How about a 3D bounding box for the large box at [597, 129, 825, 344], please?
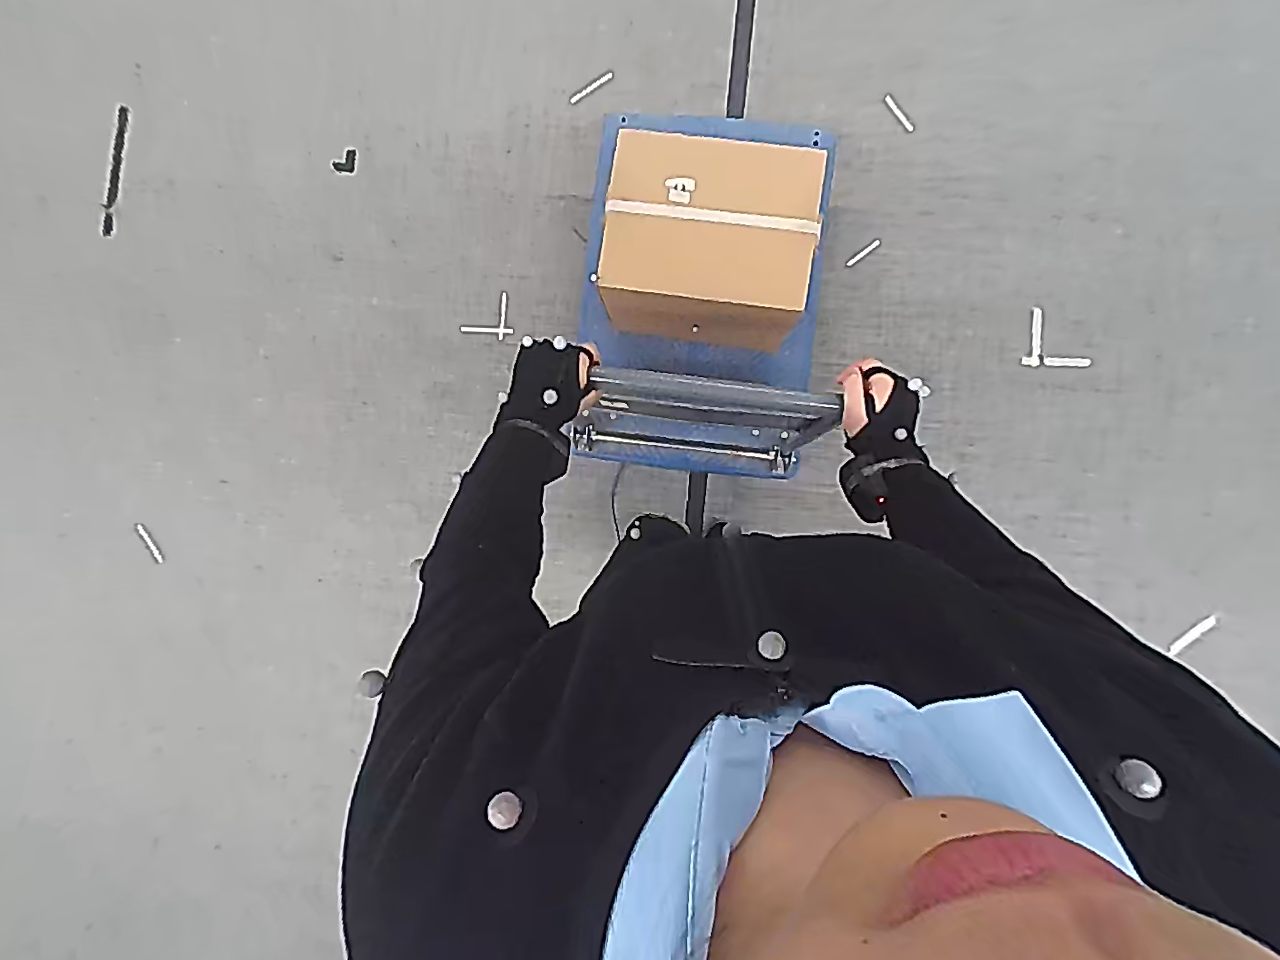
[{"bbox_3d":[0.146,-0.500,1.170,0.408,0.320,0.320,8,89,5],"label":"large box"}]
